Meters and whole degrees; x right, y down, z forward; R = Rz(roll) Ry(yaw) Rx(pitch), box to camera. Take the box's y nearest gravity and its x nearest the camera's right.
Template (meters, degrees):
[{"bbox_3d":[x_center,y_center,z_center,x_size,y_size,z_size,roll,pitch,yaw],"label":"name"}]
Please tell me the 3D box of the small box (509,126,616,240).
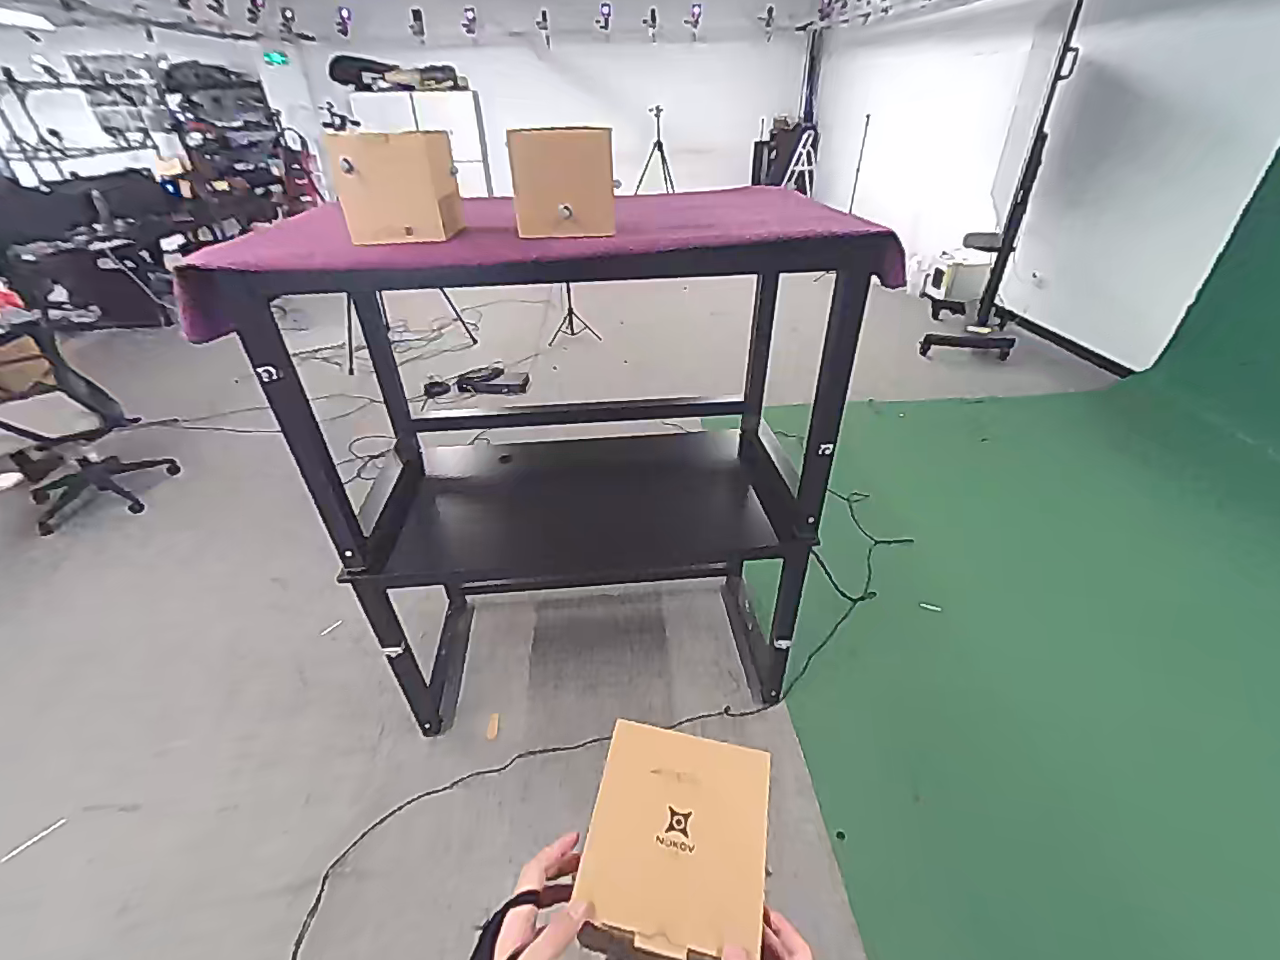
[{"bbox_3d":[-0.133,-0.546,0.992,0.179,0.176,0.168,-3,33,-3],"label":"small box"}]
